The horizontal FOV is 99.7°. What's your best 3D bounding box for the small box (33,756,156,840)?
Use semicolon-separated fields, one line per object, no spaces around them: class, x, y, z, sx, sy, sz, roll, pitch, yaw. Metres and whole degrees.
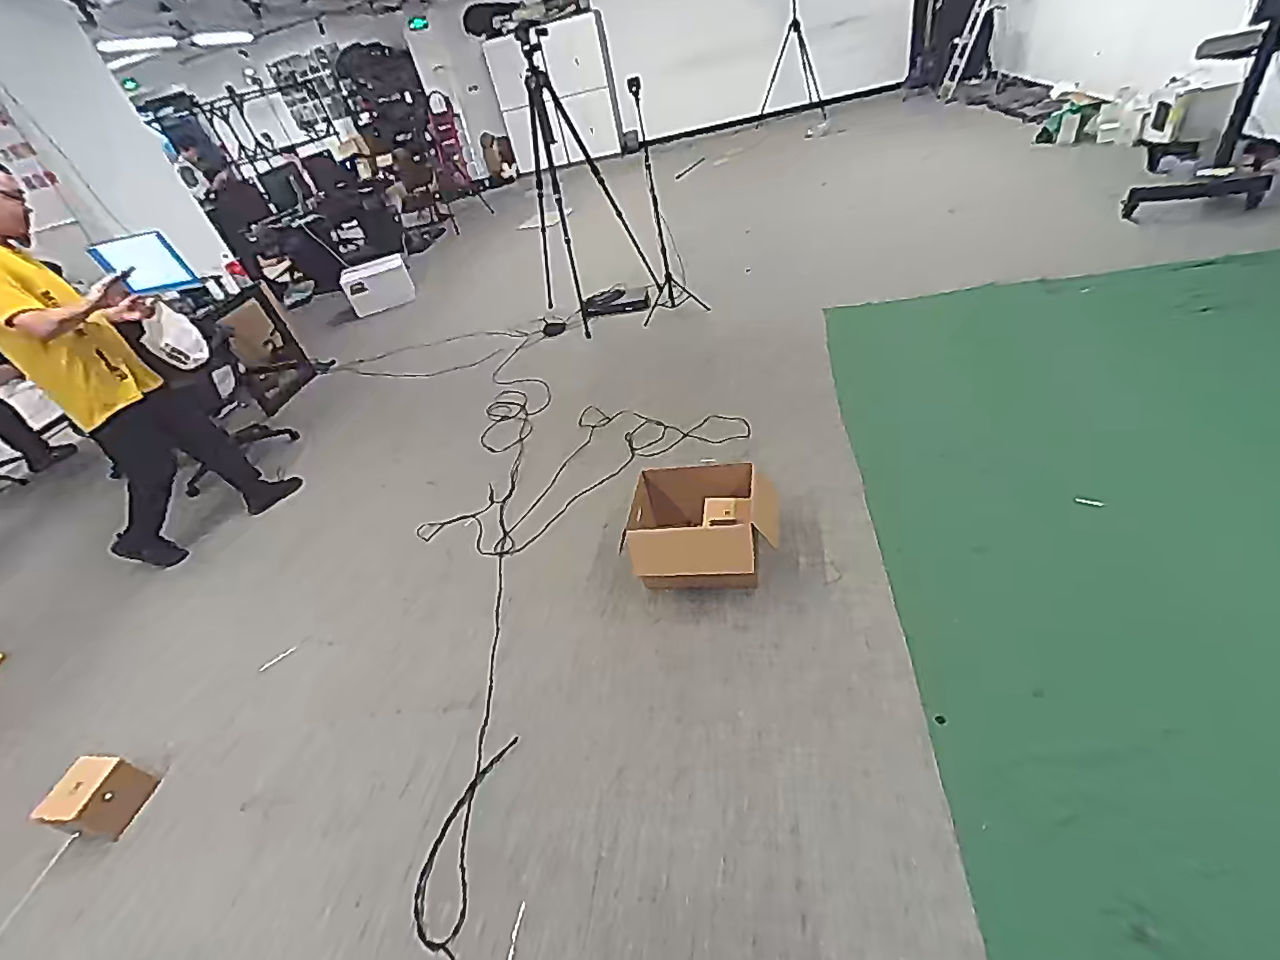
small box;-1.650;0.973;1.655;0.168;0.176;0.179;-5;41;12
